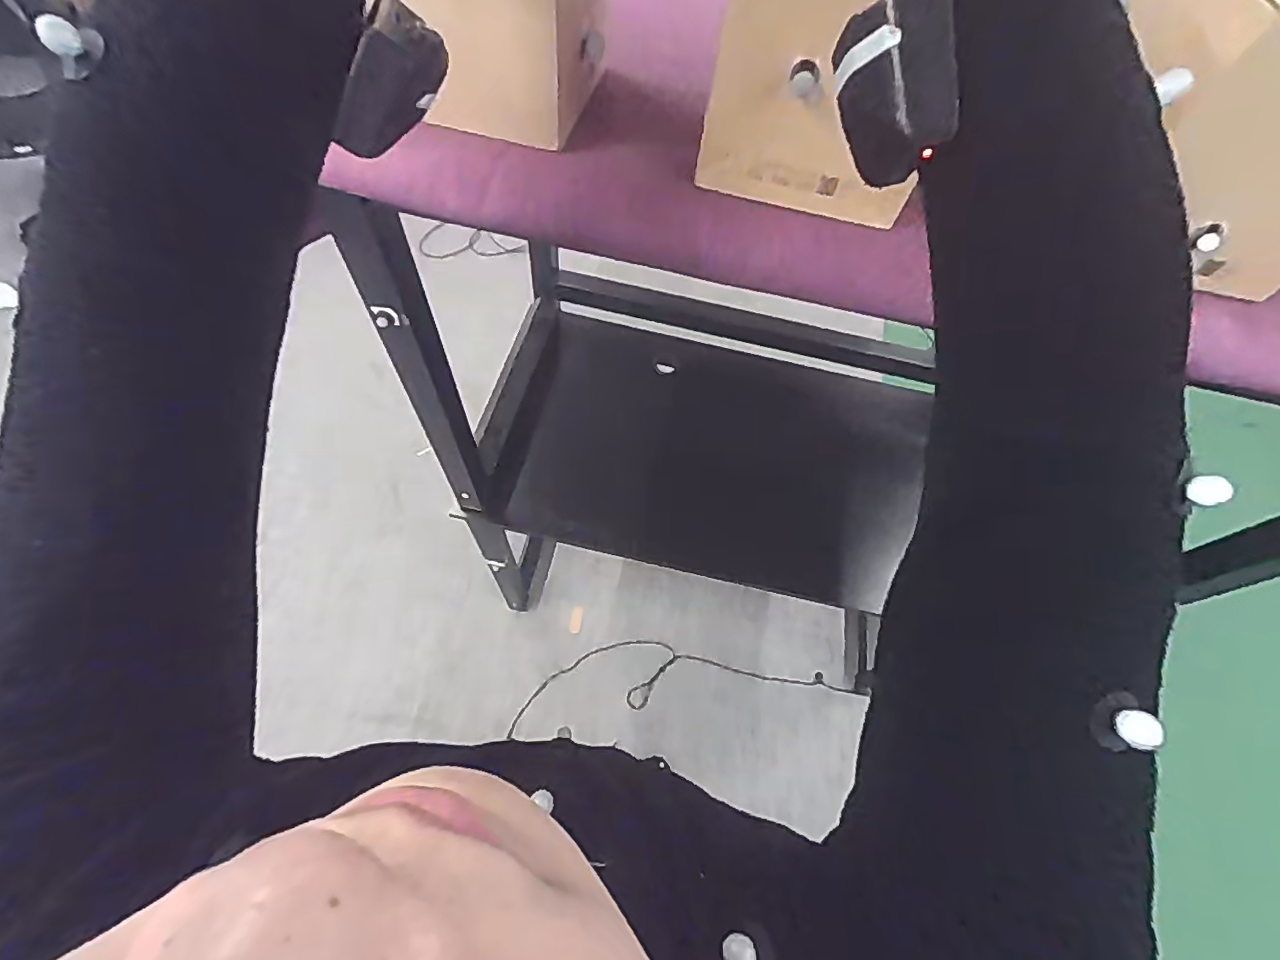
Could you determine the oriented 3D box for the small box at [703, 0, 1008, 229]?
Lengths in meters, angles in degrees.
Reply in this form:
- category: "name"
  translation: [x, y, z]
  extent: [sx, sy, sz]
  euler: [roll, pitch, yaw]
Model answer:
- category: "small box"
  translation: [0.151, -0.327, 0.419]
  extent: [0.168, 0.176, 0.179]
  euler: [13, 59, 2]
